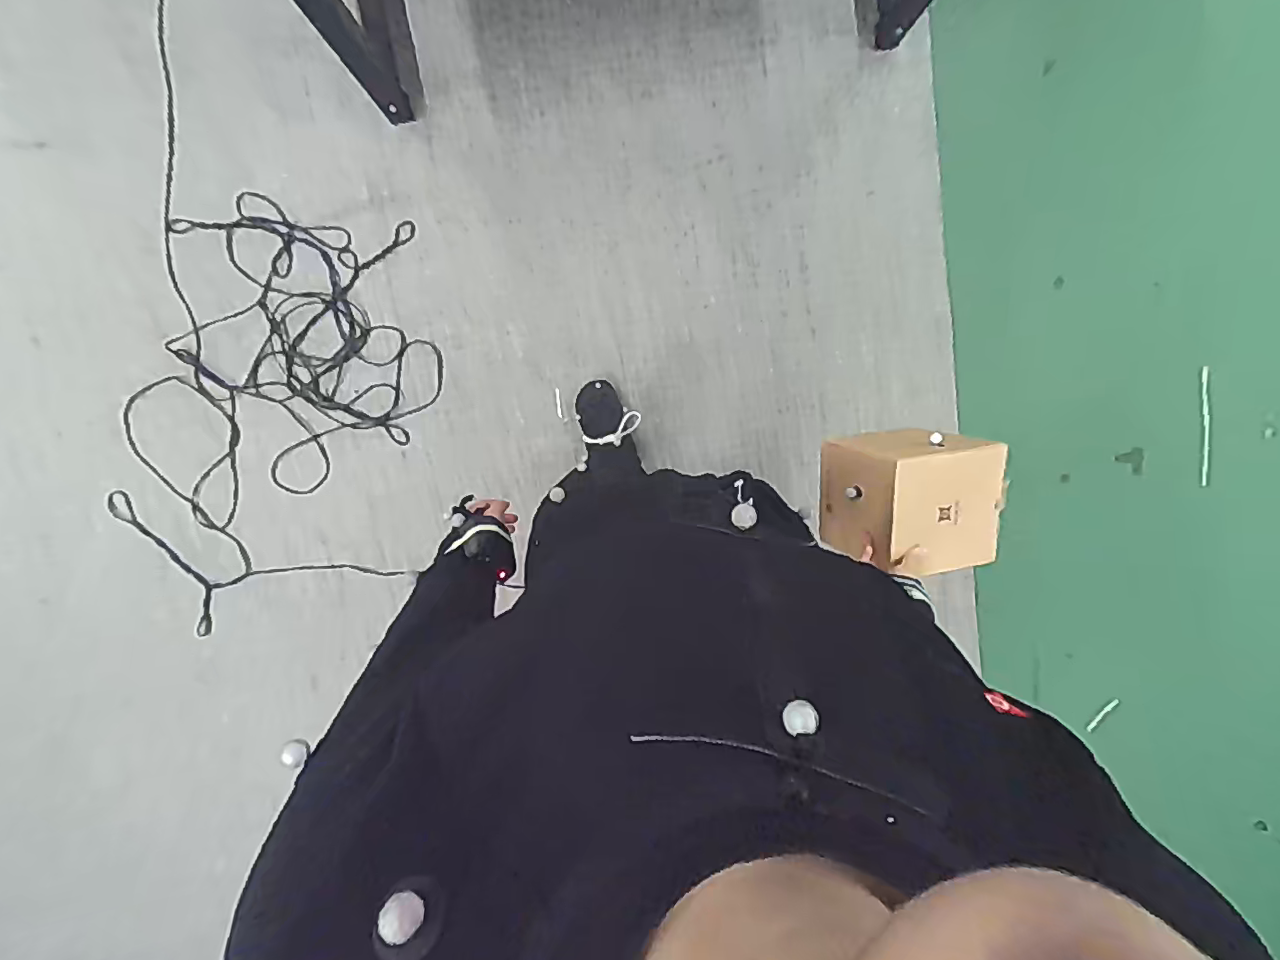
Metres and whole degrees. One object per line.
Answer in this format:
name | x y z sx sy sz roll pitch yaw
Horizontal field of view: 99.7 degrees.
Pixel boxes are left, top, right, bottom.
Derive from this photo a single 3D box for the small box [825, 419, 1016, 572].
small box | 0.378 0.011 0.759 0.179 0.176 0.168 -9 105 -14
